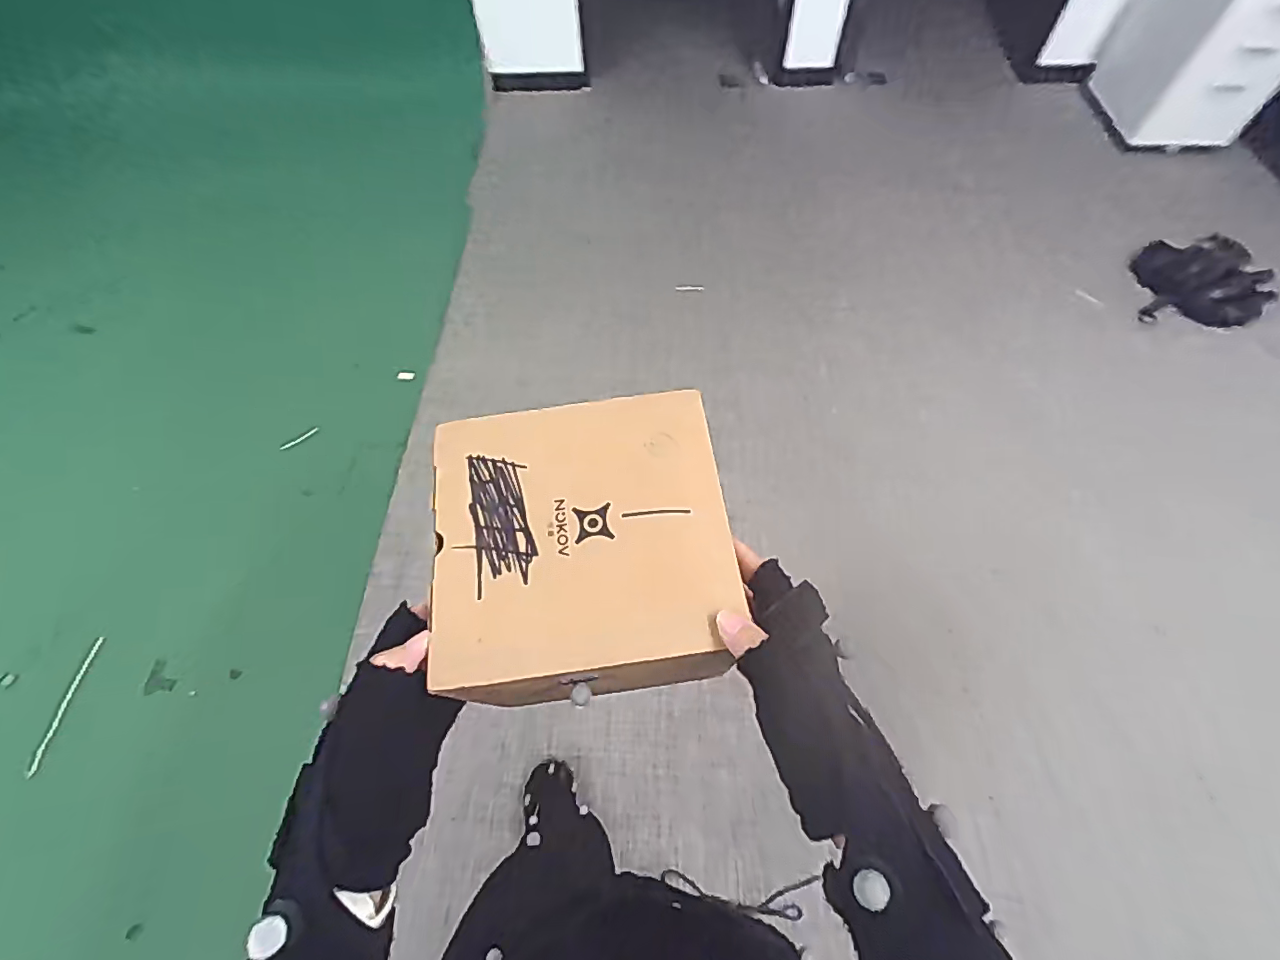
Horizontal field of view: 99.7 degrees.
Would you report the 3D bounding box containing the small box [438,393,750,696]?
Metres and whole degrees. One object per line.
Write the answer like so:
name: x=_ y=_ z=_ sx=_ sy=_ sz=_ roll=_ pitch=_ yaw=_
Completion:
small box: x=-0.030 y=0.059 z=0.401 sx=0.179 sy=0.176 sz=0.168 roll=-7 pitch=65 yaw=-2
